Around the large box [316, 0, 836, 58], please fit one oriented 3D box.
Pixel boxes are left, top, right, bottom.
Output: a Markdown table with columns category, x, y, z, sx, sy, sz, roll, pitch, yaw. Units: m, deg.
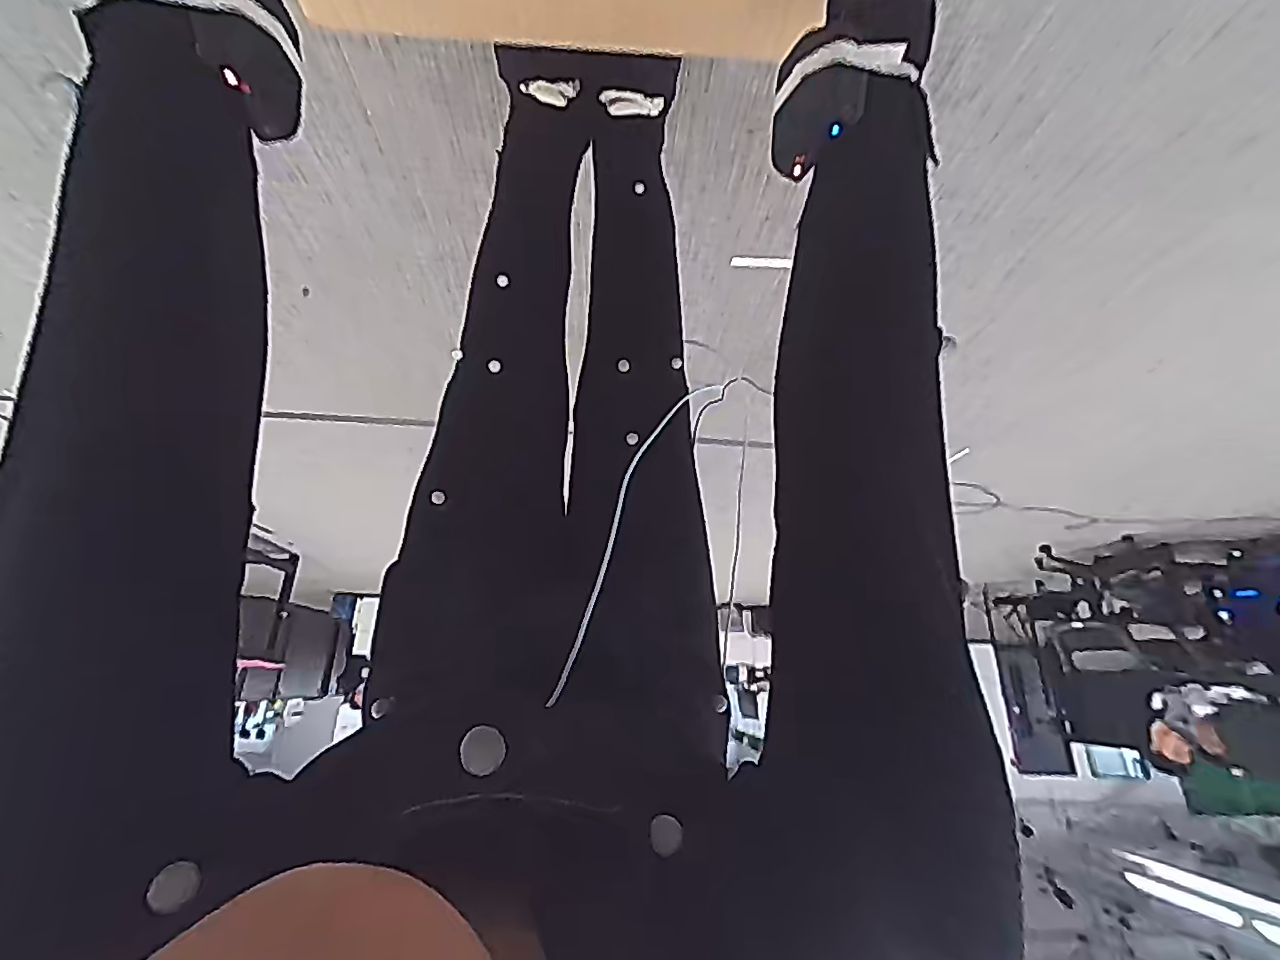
| category | x | y | z | sx | sy | sz | roll | pitch | yaw |
| --- | --- | --- | --- | --- | --- | --- | --- | --- | --- |
| large box | -0.045 | -0.547 | 0.356 | 0.408 | 0.320 | 0.320 | 2 | 159 | -2 |
